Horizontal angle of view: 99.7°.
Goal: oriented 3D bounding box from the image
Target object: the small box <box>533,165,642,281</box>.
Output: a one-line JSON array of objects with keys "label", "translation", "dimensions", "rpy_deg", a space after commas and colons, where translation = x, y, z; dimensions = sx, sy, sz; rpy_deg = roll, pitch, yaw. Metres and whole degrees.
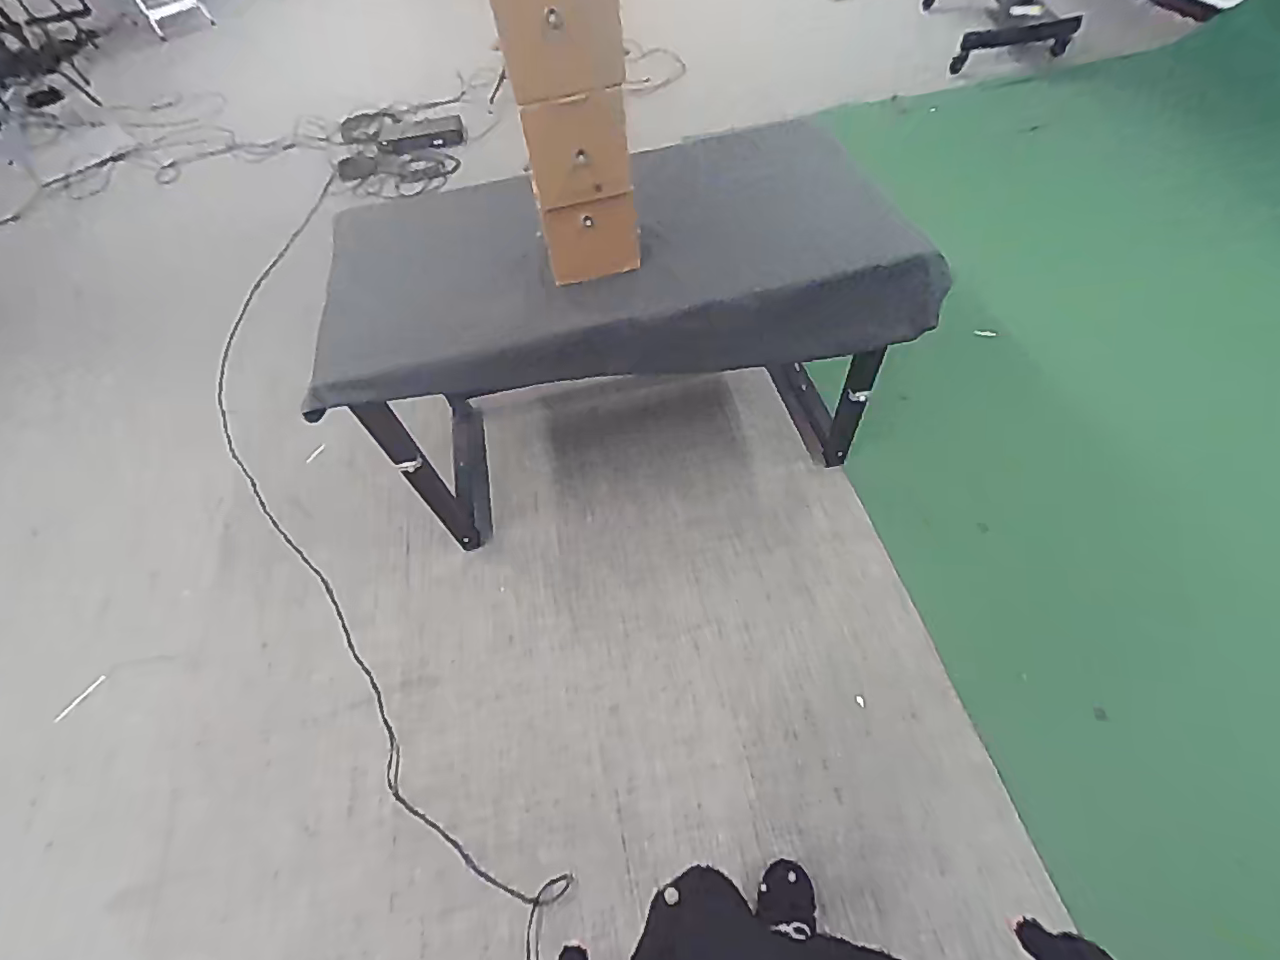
[{"label": "small box", "translation": [-0.100, -0.516, 1.063], "dimensions": [0.179, 0.176, 0.168], "rpy_deg": [-12, 57, -4]}]

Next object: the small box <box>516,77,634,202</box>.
[{"label": "small box", "translation": [-0.112, -0.600, 0.924], "dimensions": [0.168, 0.176, 0.179], "rpy_deg": [-14, 58, -3]}]

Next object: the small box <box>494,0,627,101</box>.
[{"label": "small box", "translation": [-0.119, -0.688, 0.784], "dimensions": [0.179, 0.176, 0.168], "rpy_deg": [-14, 57, -5]}]
